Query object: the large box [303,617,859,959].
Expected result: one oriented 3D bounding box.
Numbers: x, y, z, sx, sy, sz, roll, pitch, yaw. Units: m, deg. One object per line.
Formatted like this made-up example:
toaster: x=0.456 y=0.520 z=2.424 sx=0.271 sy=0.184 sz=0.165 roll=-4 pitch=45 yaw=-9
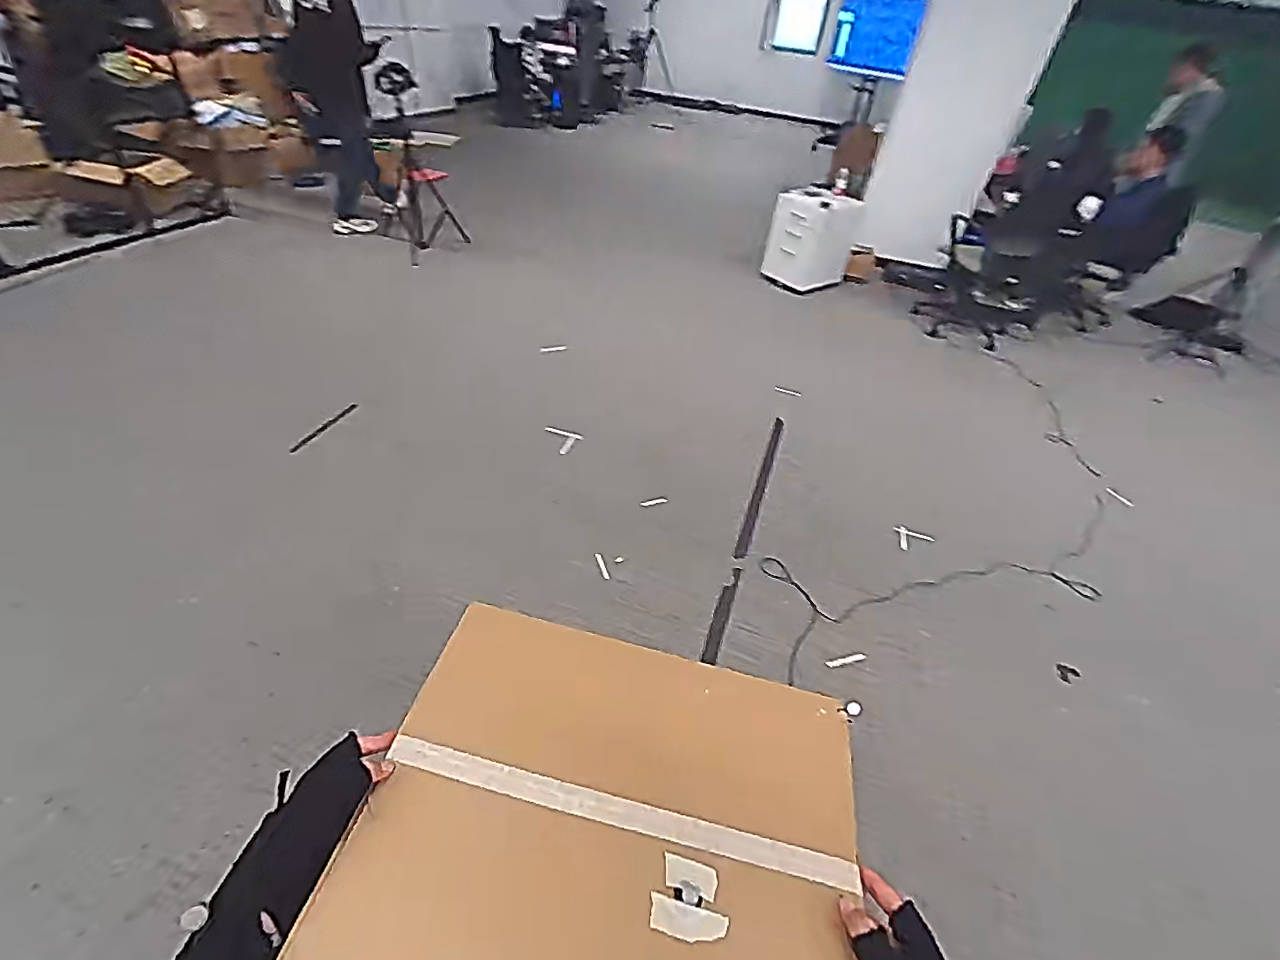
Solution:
large box: x=-0.036 y=0.398 z=0.559 sx=0.408 sy=0.320 sz=0.320 roll=15 pitch=43 yaw=4
